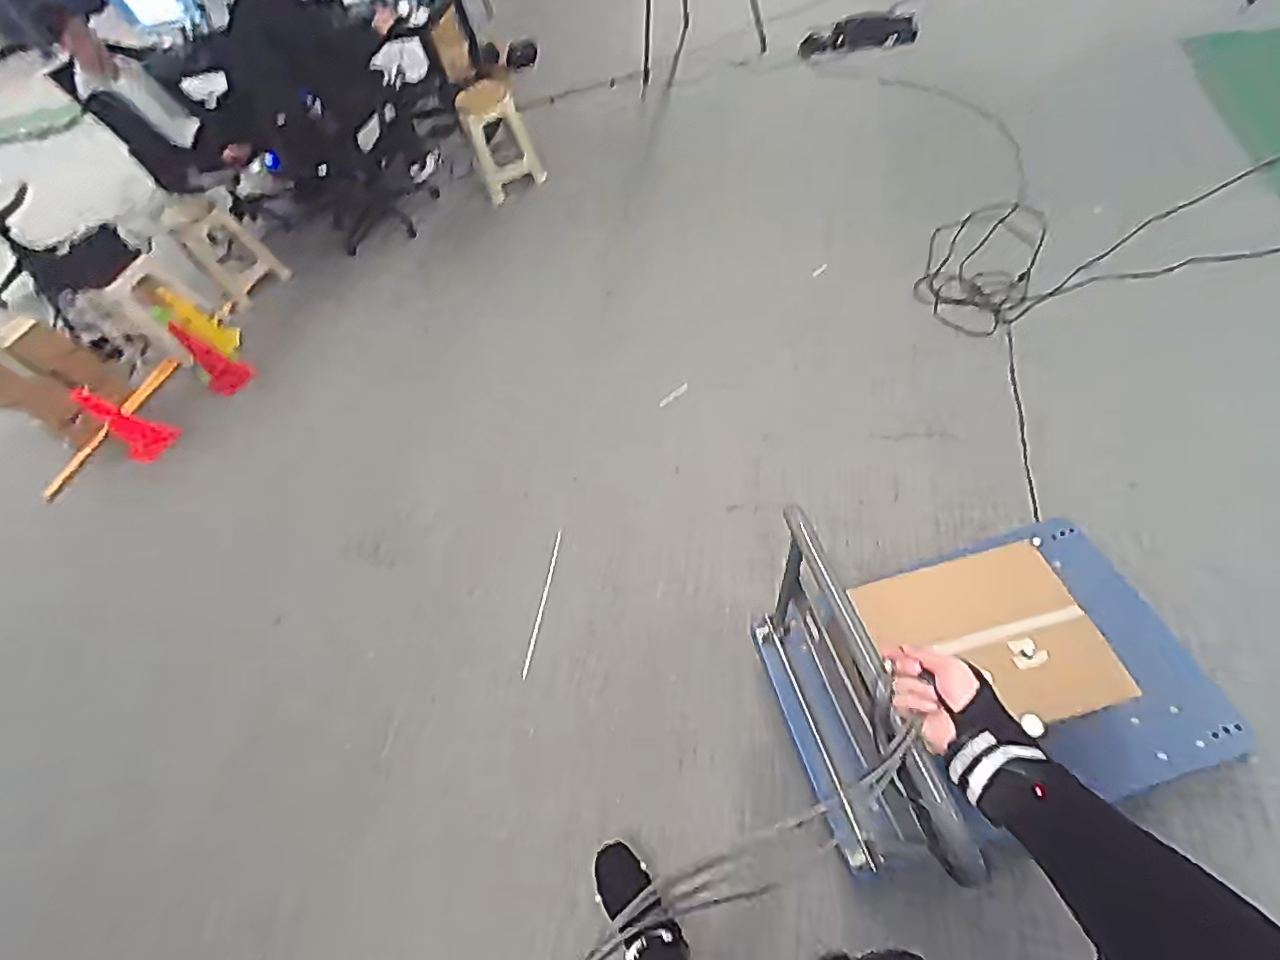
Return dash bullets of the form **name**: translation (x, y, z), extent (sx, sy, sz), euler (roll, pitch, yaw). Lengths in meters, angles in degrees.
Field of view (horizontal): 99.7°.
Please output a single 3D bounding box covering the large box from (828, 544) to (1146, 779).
- **large box**: translation (0.656, 0.385, 1.117), extent (0.408, 0.320, 0.320), euler (-16, 56, 1)
